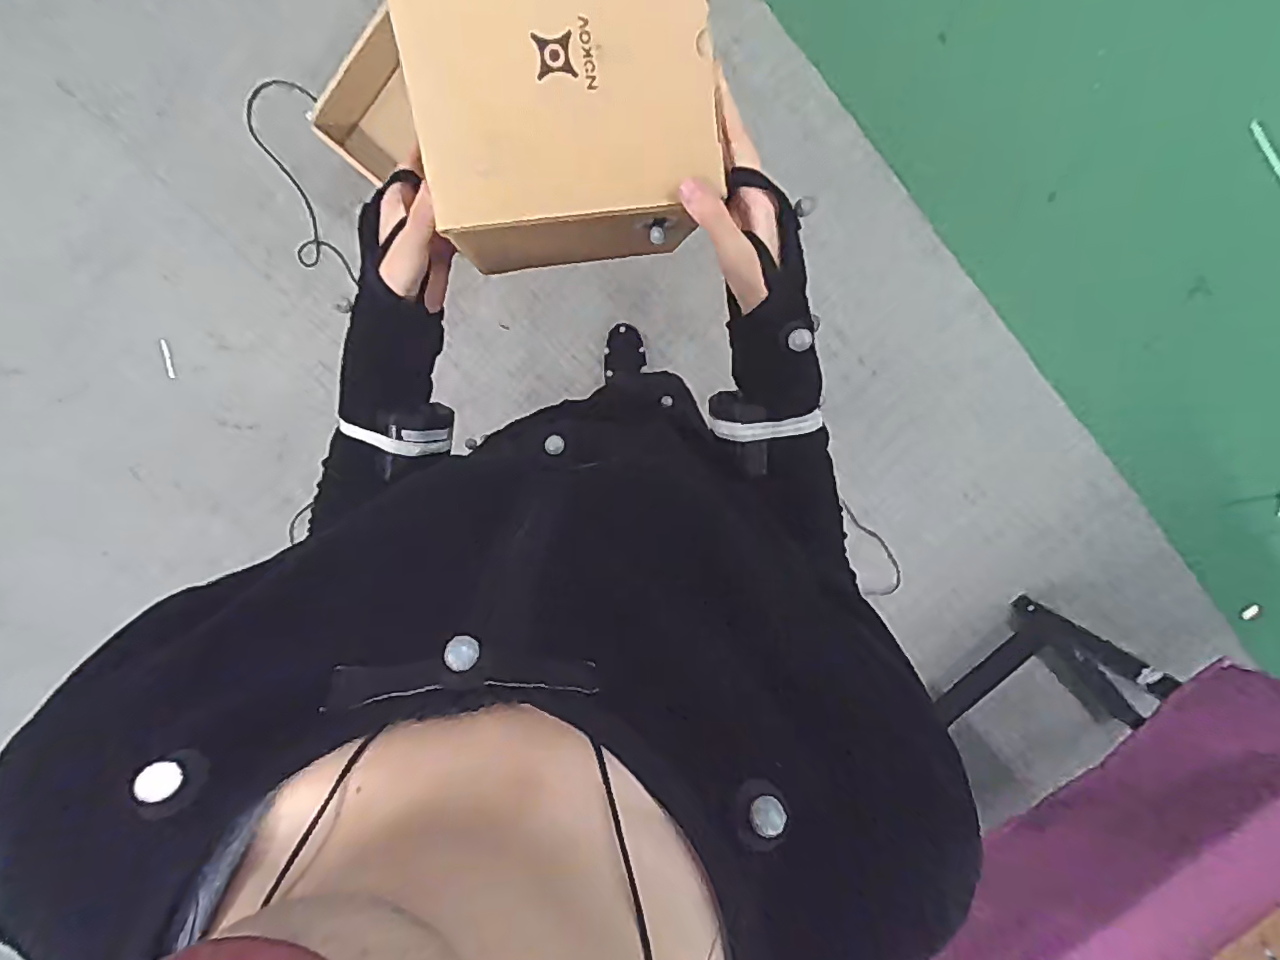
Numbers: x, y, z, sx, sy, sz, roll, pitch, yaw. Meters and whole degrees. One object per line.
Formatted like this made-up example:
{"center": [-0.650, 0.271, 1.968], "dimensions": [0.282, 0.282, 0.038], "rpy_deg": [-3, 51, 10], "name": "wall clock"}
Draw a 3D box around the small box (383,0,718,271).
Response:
{"center": [-0.058, -0.253, 0.382], "dimensions": [0.179, 0.176, 0.168], "rpy_deg": [-11, 105, -7], "name": "small box"}
